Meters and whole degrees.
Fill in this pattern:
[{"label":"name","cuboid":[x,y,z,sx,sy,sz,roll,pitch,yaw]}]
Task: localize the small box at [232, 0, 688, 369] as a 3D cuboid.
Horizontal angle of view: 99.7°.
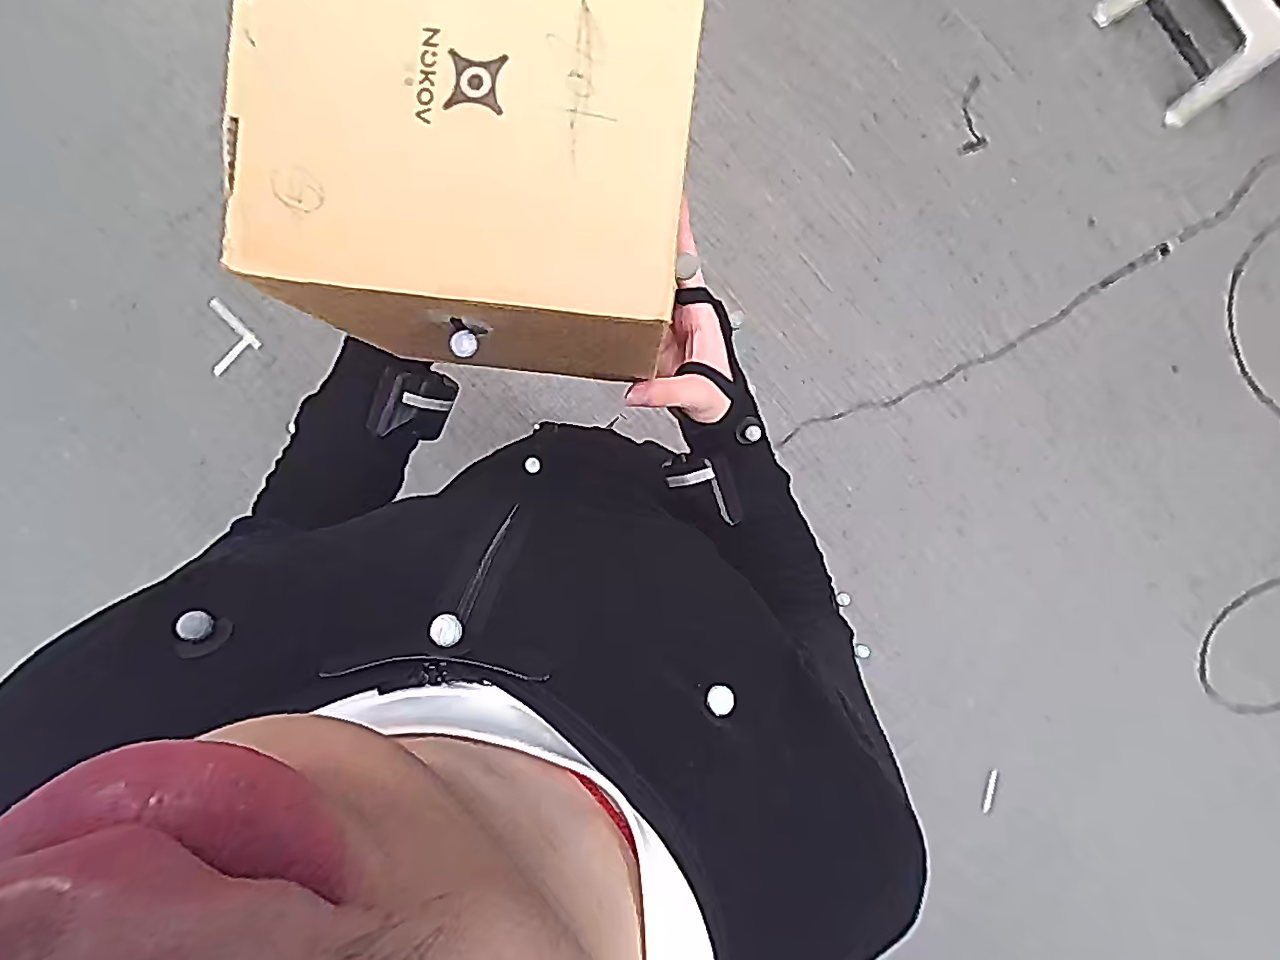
[{"label":"small box","cuboid":[-0.073,-0.162,0.299,0.179,0.176,0.168,5,92,-2]}]
